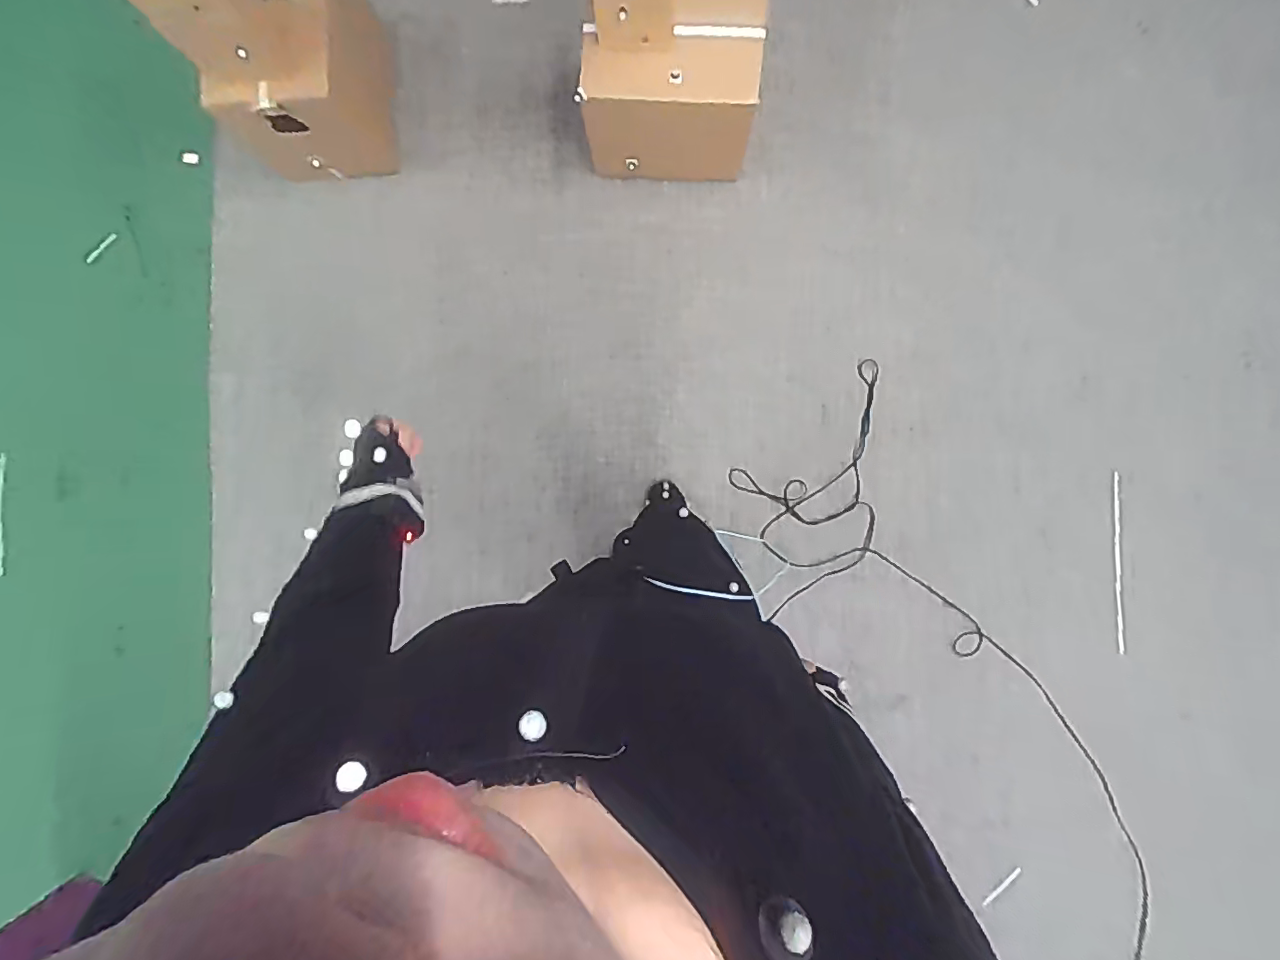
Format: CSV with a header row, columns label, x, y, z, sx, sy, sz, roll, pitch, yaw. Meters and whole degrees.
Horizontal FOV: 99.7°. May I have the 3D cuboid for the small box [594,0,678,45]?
label,x,y,z,sx,sy,sz,roll,pitch,yaw
small box,-0.004,-1.046,1.113,0.168,0.176,0.179,5,88,3

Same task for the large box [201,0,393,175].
label,x,y,z,sx,sy,sz,roll,pitch,yaw
large box,-0.866,-1.079,1.400,0.320,0.320,0.408,-1,89,3

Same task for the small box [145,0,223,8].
label,x,y,z,sx,sy,sz,roll,pitch,yaw
small box,-0.902,-1.020,0.994,0.168,0.176,0.179,-7,88,3
